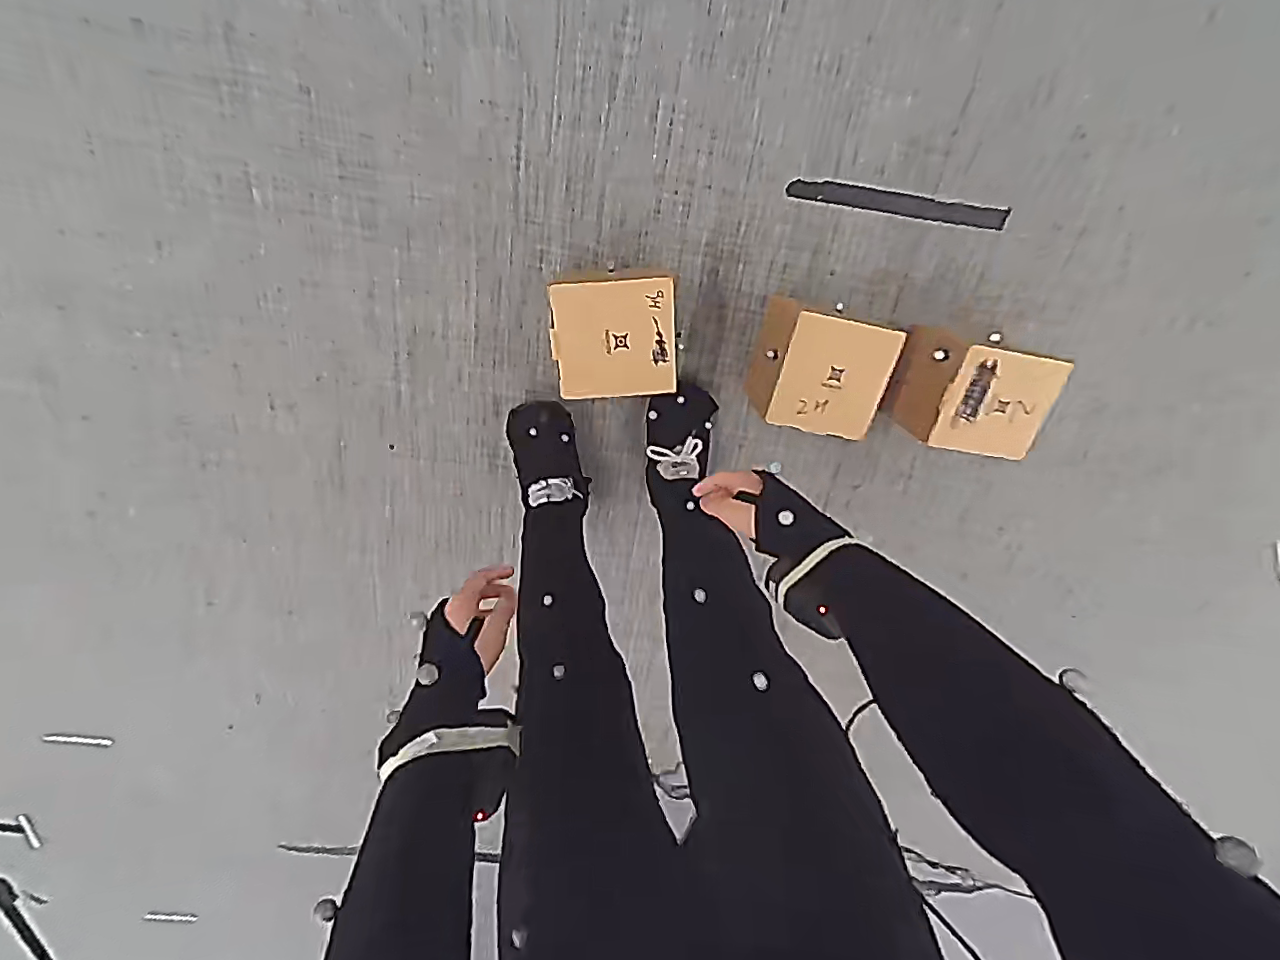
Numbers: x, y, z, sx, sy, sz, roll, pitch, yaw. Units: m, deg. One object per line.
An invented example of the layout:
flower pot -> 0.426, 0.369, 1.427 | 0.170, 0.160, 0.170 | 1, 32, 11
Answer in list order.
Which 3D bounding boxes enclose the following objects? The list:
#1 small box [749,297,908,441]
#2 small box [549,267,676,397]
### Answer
small box -> 0.289, -0.186, 0.876 | 0.168, 0.176, 0.179 | 10, 116, -7
small box -> -0.035, -0.235, 0.842 | 0.179, 0.176, 0.168 | -3, 117, 1
